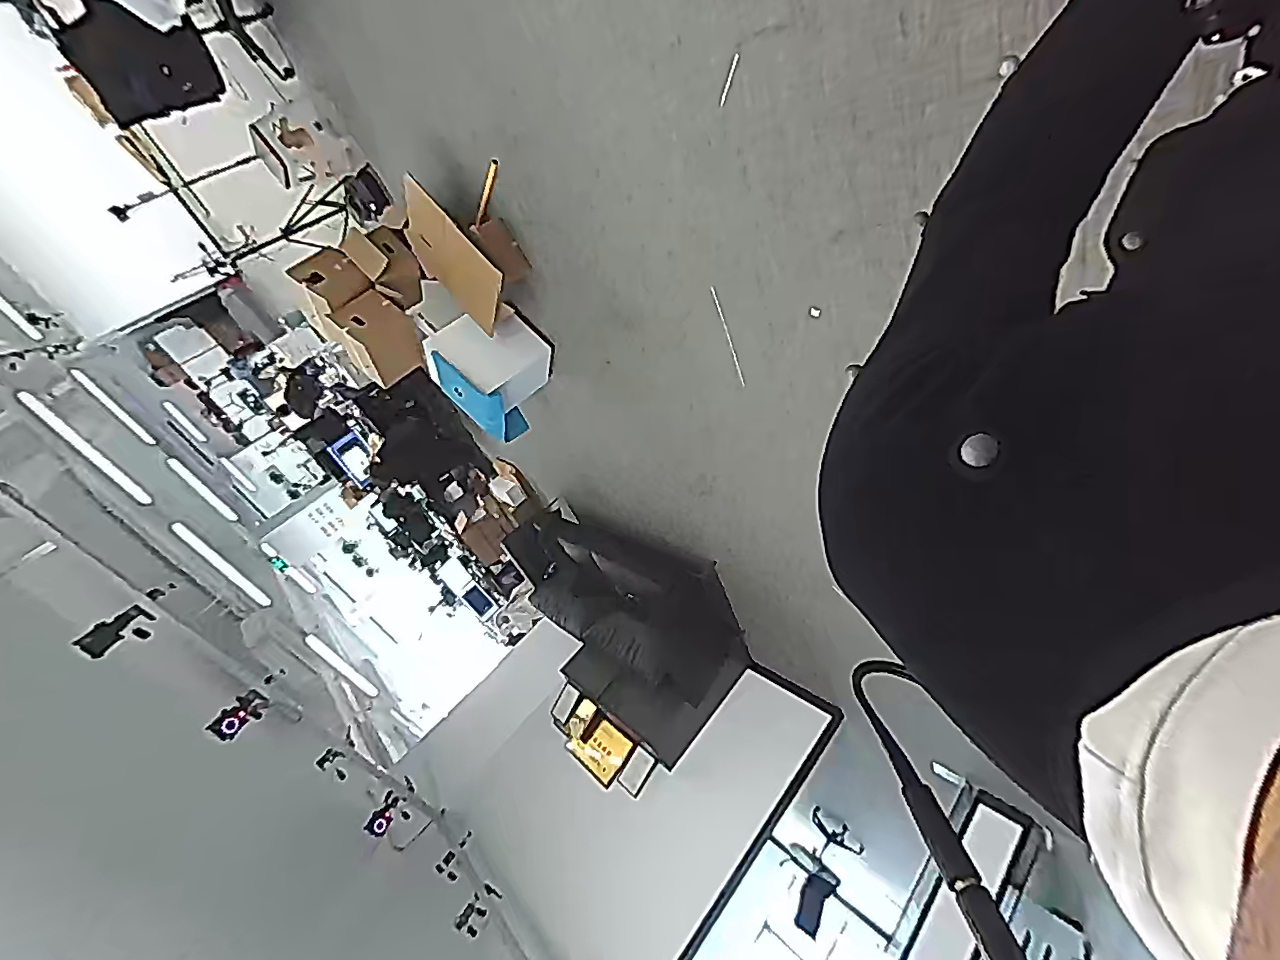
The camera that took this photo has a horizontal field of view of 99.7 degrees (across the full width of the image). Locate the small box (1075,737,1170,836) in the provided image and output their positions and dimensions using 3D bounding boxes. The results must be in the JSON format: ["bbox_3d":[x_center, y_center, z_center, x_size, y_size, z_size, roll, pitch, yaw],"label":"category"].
[{"bbox_3d":[1.479,0.934,1.658,0.168,0.176,0.179,23,145,44],"label":"small box"}]
